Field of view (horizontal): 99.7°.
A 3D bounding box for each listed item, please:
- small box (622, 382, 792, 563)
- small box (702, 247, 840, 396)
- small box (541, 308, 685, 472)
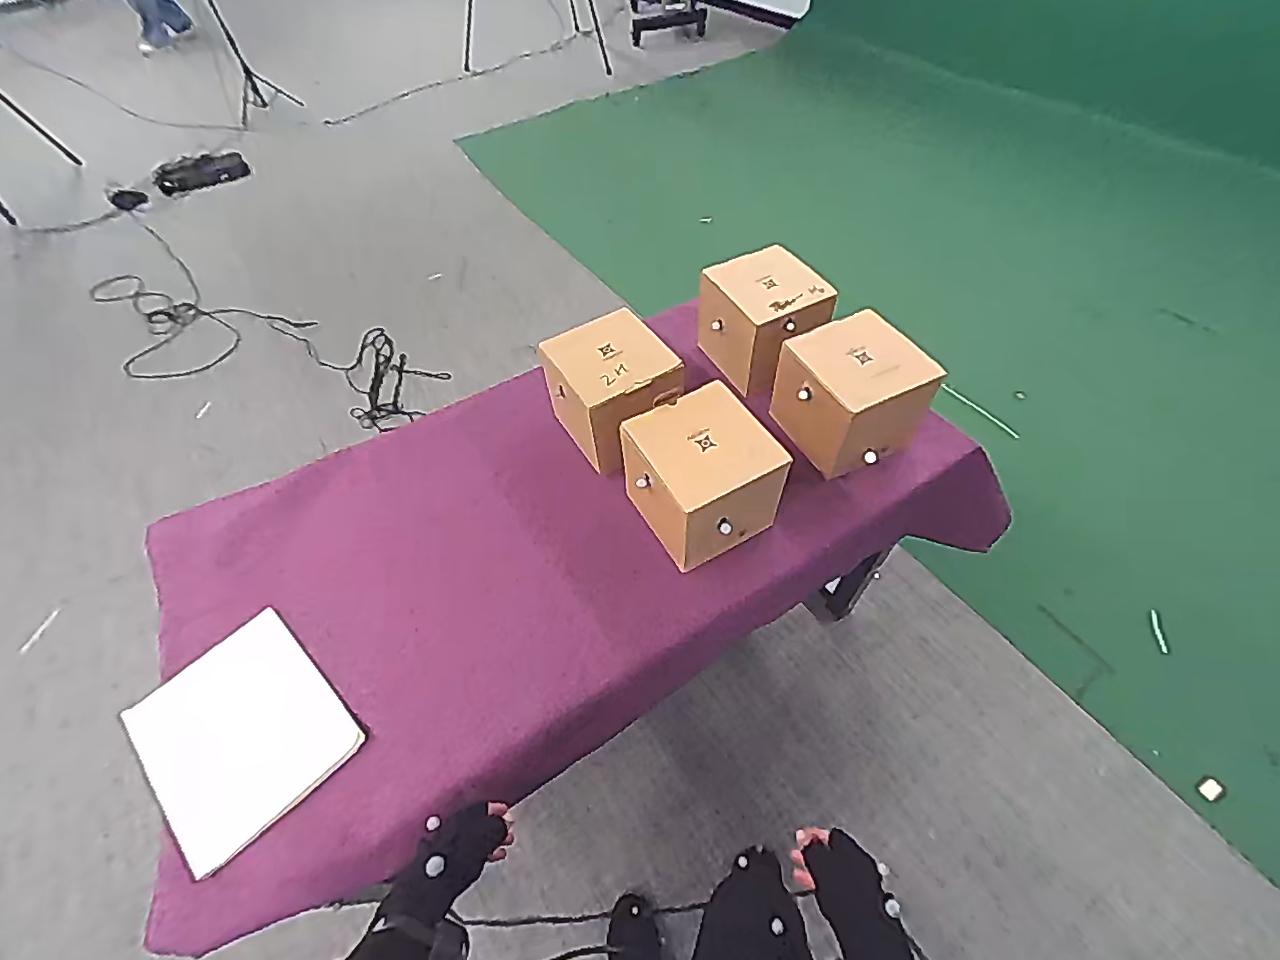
[{"bbox_3d":[0.090,-0.002,0.782,0.168,0.176,0.179,-25,57,-14],"label":"small box"},{"bbox_3d":[0.223,-0.285,0.979,0.168,0.176,0.179,-24,56,-13],"label":"small box"},{"bbox_3d":[-0.043,-0.145,0.891,0.168,0.176,0.179,-27,58,-16],"label":"small box"}]
